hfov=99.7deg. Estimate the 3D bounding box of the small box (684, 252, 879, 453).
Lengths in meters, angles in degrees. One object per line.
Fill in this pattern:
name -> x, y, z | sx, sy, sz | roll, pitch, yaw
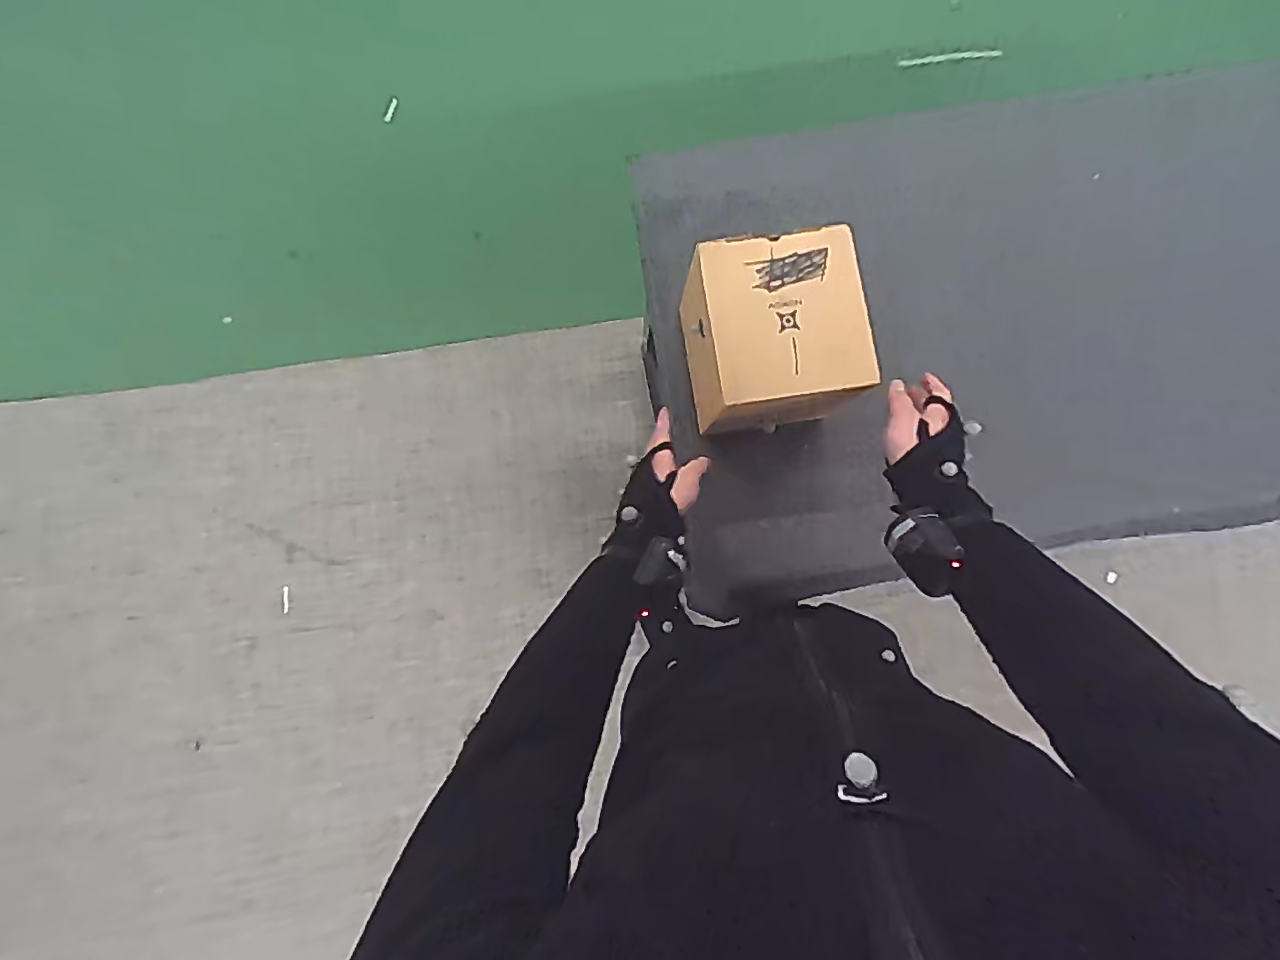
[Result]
small box -> 0.153, -0.141, 0.646 | 0.168, 0.176, 0.179 | -9, 84, -3
